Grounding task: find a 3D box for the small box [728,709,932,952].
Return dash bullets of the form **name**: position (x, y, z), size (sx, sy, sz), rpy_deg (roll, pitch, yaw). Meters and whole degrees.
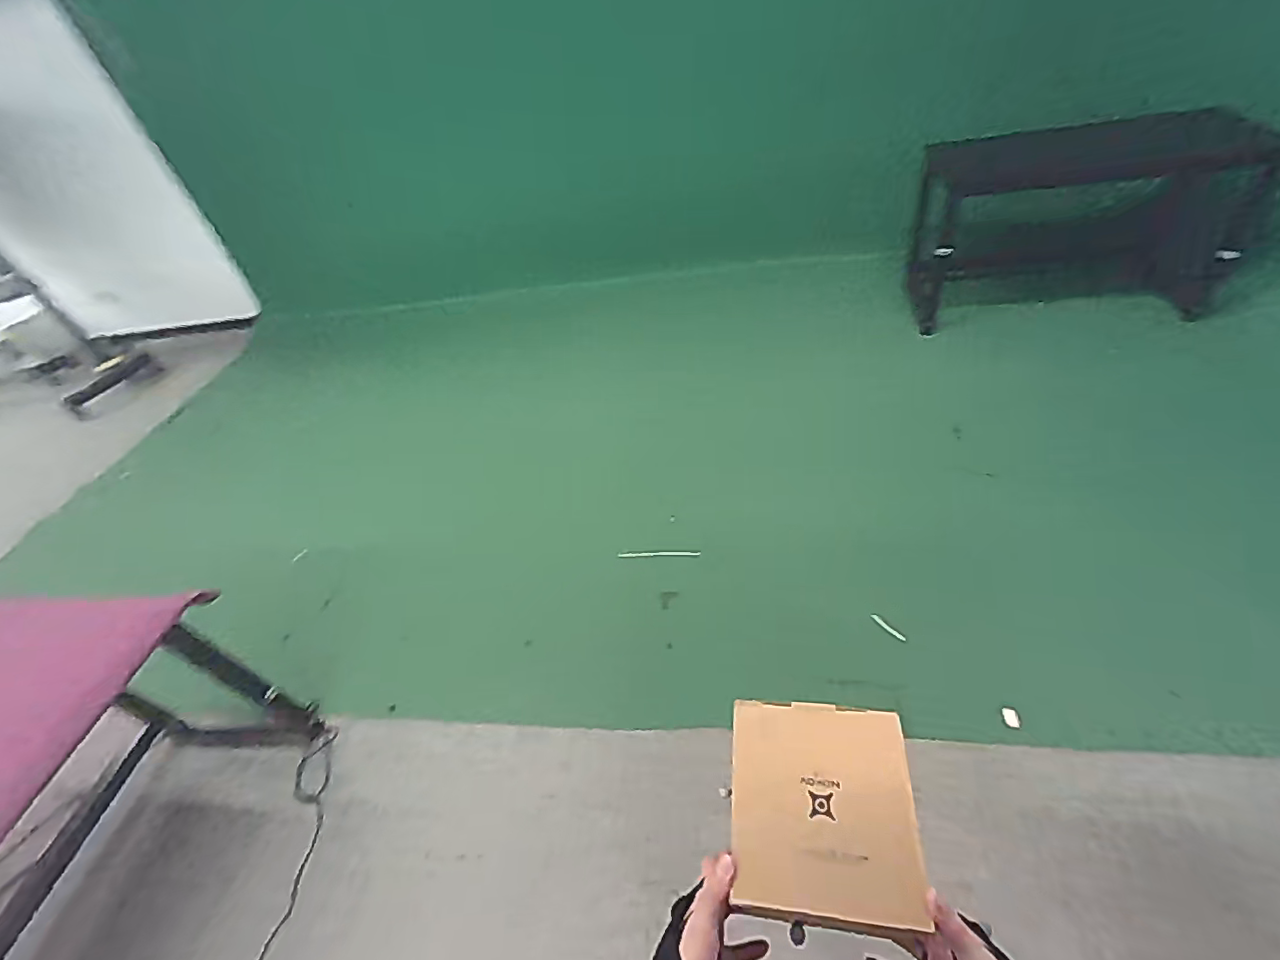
- **small box**: position (0.176, 0.361, 0.561), size (0.168, 0.176, 0.179), rpy_deg (0, 49, 11)
